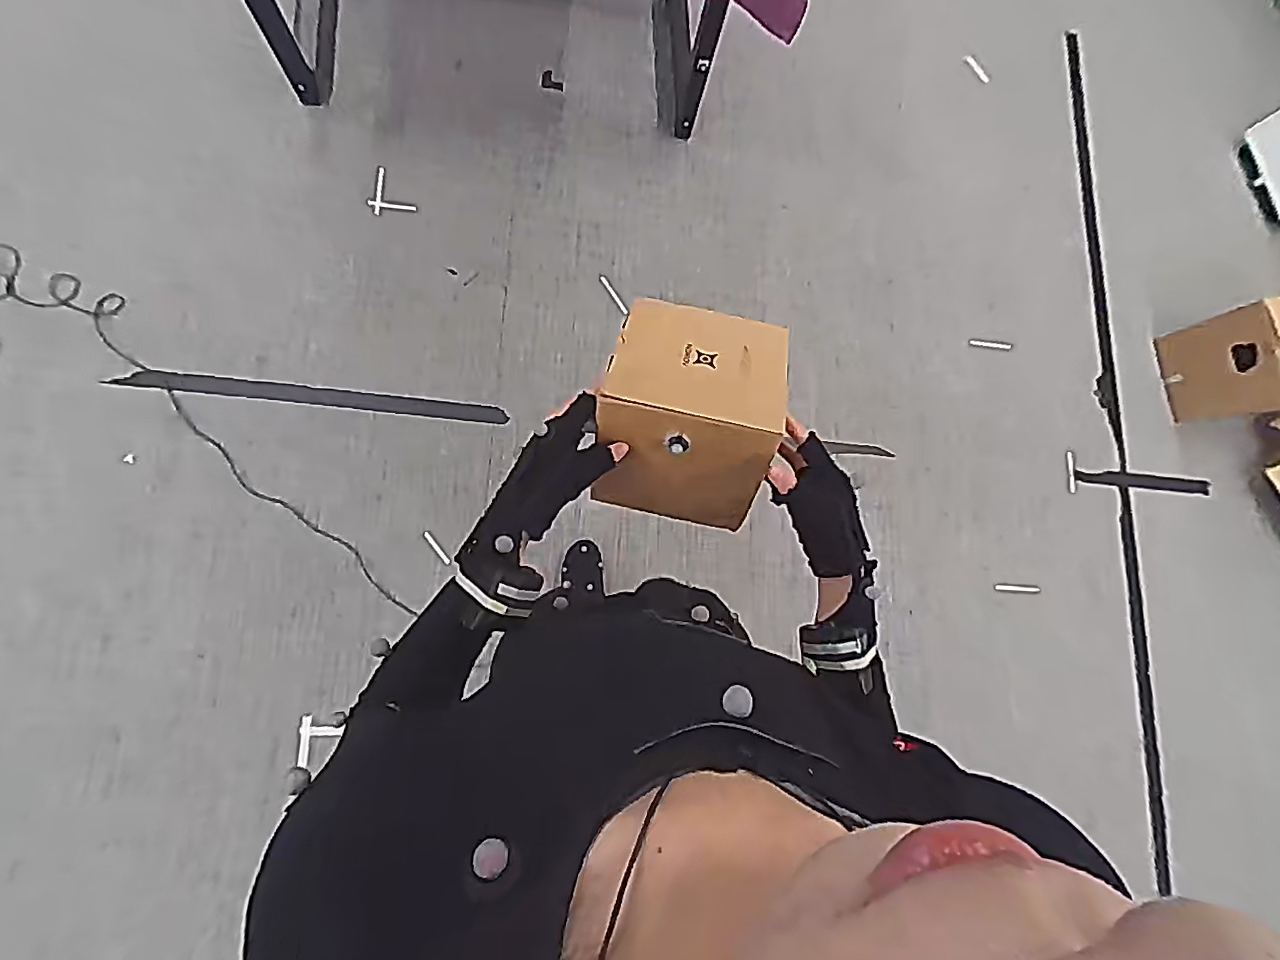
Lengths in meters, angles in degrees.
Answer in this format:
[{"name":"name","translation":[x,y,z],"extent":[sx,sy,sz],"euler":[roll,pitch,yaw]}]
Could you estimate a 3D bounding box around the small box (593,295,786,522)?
[{"name":"small box","translation":[0.050,-0.074,0.603],"extent":[0.179,0.176,0.168],"euler":[13,53,2]}]
